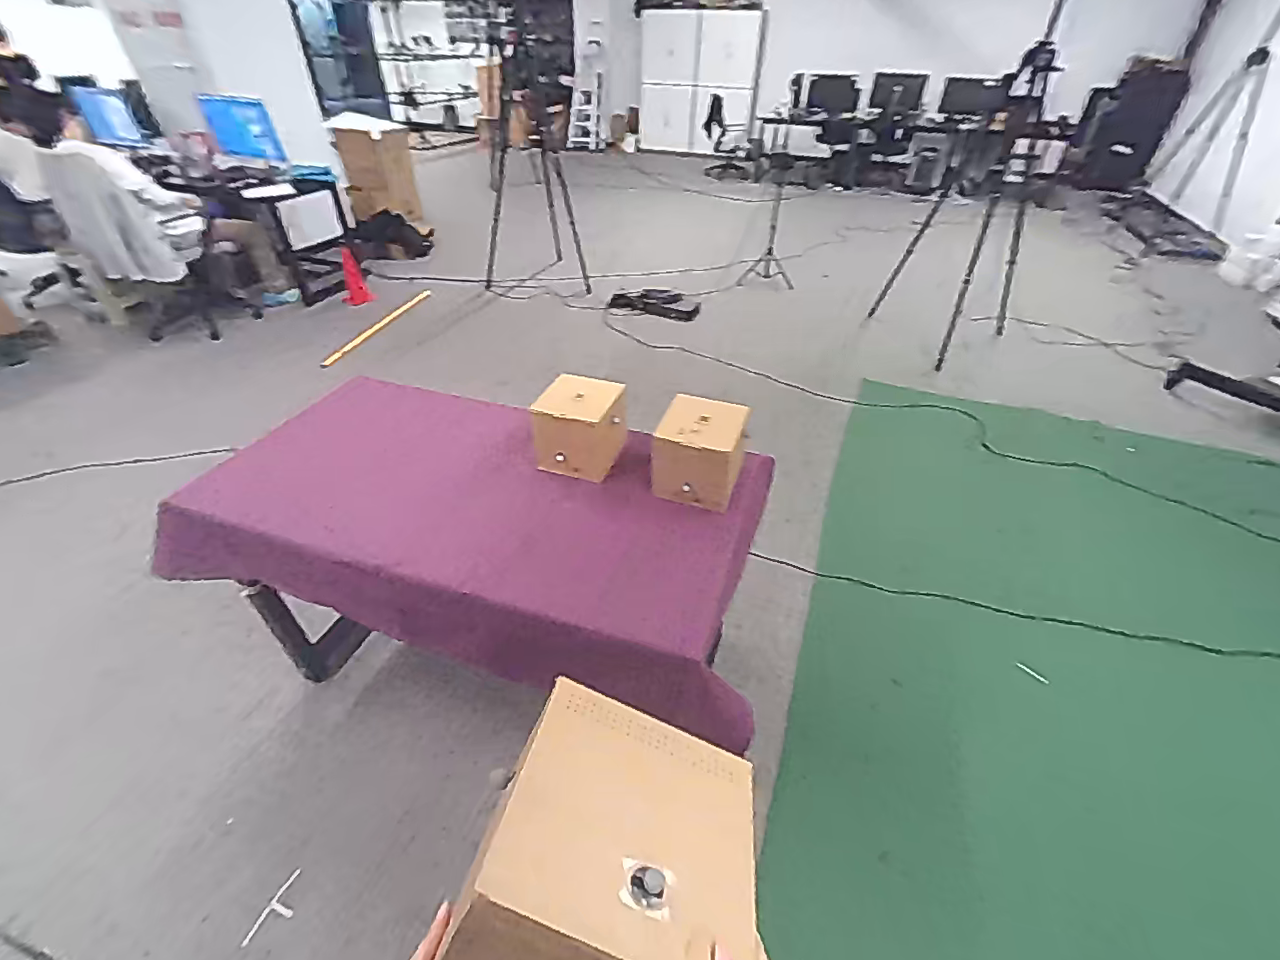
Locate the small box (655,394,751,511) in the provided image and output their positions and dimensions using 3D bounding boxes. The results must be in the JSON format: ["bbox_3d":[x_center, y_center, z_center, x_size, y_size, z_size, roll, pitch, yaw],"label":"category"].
[{"bbox_3d":[0.135,-0.062,1.190,0.168,0.176,0.179,14,44,17],"label":"small box"}]

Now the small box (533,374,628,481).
[{"bbox_3d":[-0.134,-0.125,1.276,0.168,0.176,0.179,13,42,15],"label":"small box"}]

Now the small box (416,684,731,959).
[{"bbox_3d":[-0.041,0.290,0.408,0.179,0.168,0.176,25,25,-1],"label":"small box"}]
